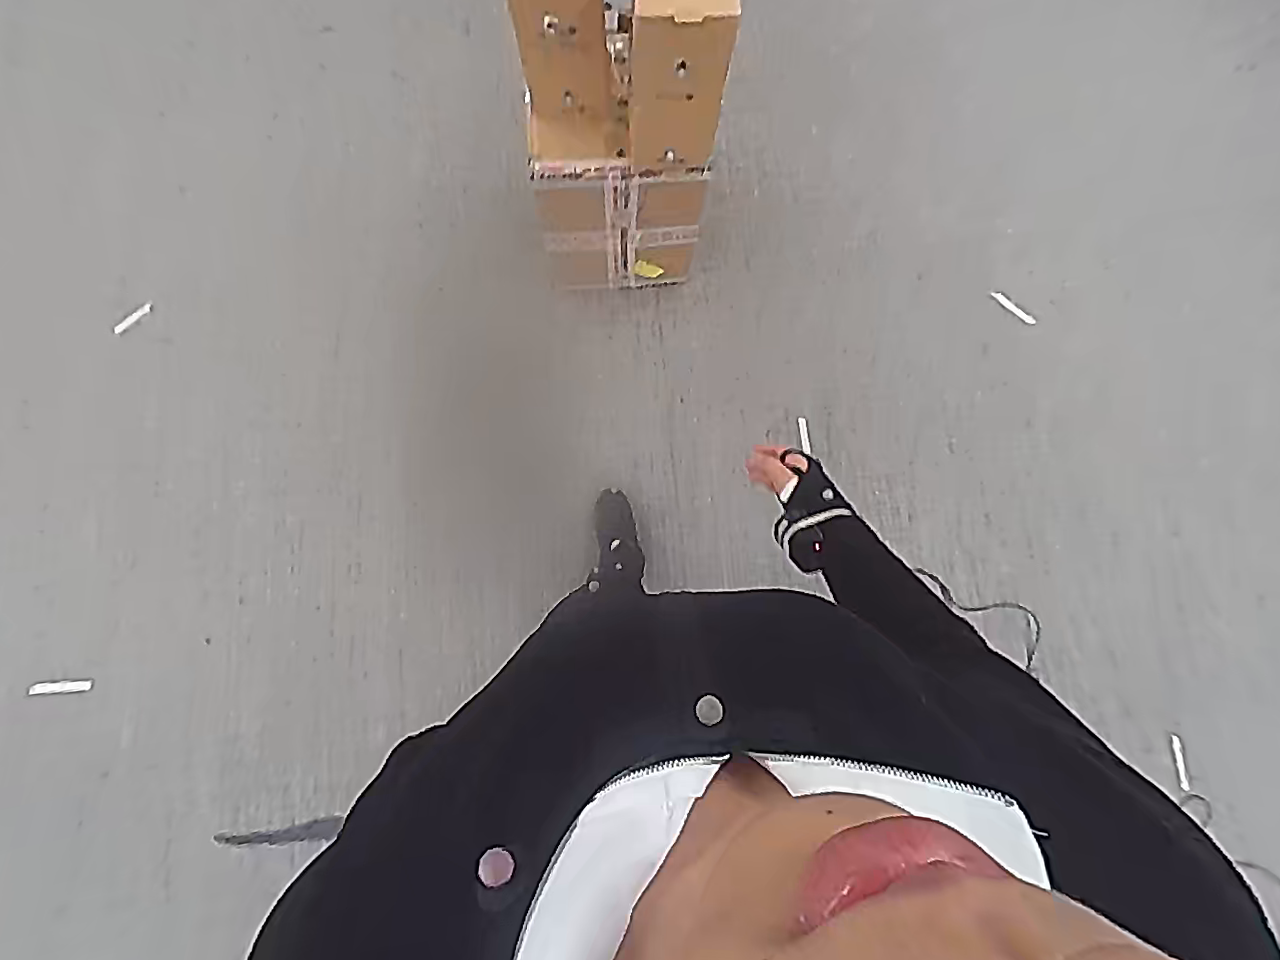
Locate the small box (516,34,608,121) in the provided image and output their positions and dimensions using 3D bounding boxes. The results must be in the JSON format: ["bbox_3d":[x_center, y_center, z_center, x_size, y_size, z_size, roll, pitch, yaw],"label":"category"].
[{"bbox_3d":[-0.155,-0.875,1.101,0.168,0.176,0.179,-4,82,-1],"label":"small box"}]

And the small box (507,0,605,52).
[{"bbox_3d":[-0.151,-0.898,0.940,0.168,0.176,0.179,-4,82,0],"label":"small box"}]

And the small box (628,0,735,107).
[{"bbox_3d":[0.065,-0.781,0.928,0.168,0.176,0.179,0,83,-3],"label":"small box"}]

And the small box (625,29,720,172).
[{"bbox_3d":[0.058,-0.758,1.090,0.168,0.176,0.179,-4,83,-3],"label":"small box"}]
